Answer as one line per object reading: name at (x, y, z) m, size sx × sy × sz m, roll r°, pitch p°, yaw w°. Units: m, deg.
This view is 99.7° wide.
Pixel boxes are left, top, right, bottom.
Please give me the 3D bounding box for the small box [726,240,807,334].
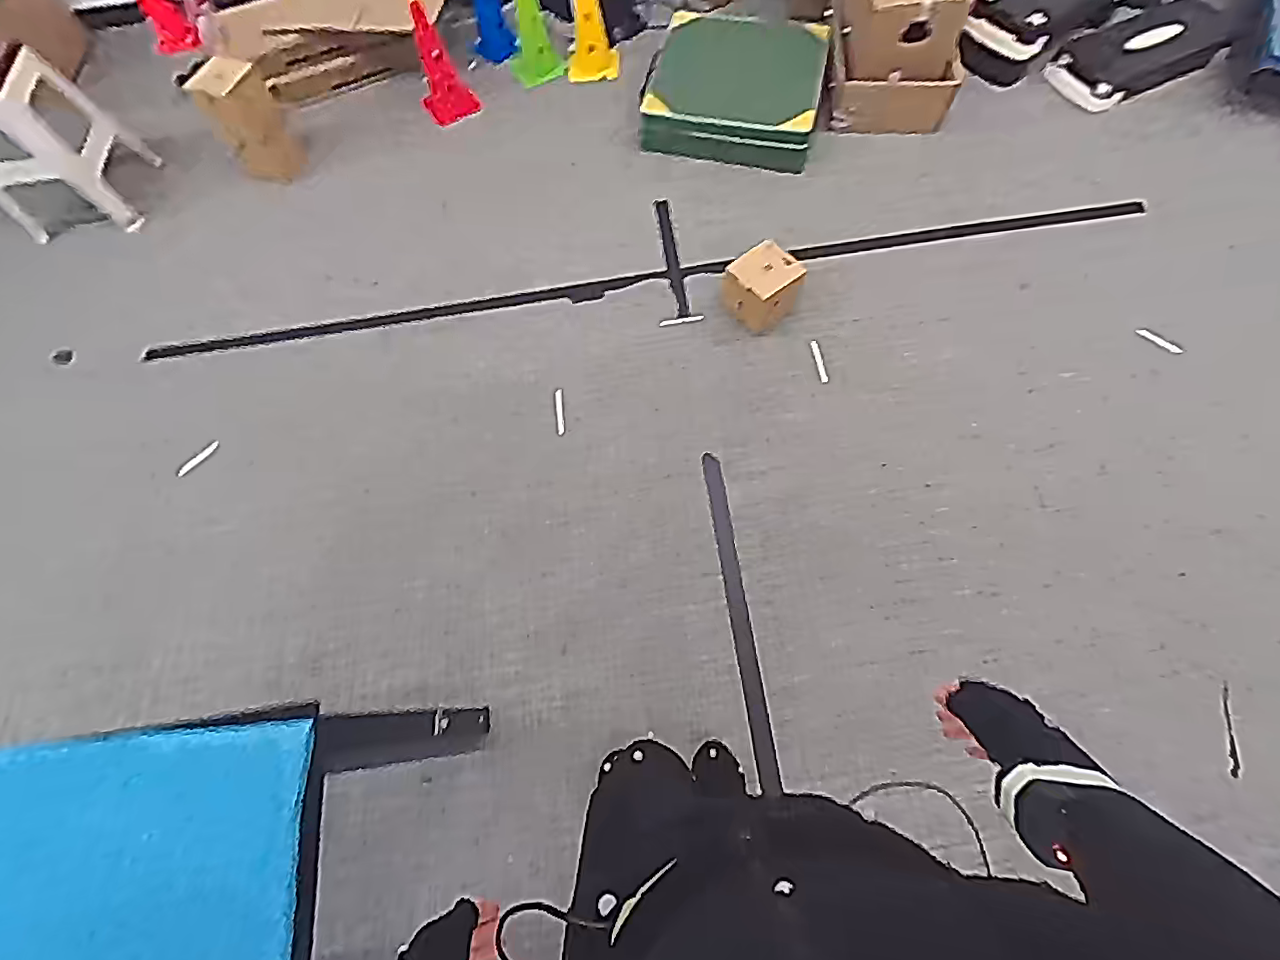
small box at (0.377, -0.586, 1.657) m, size 0.179 × 0.176 × 0.168 m, roll -39°, pitch 71°, yaw -13°
